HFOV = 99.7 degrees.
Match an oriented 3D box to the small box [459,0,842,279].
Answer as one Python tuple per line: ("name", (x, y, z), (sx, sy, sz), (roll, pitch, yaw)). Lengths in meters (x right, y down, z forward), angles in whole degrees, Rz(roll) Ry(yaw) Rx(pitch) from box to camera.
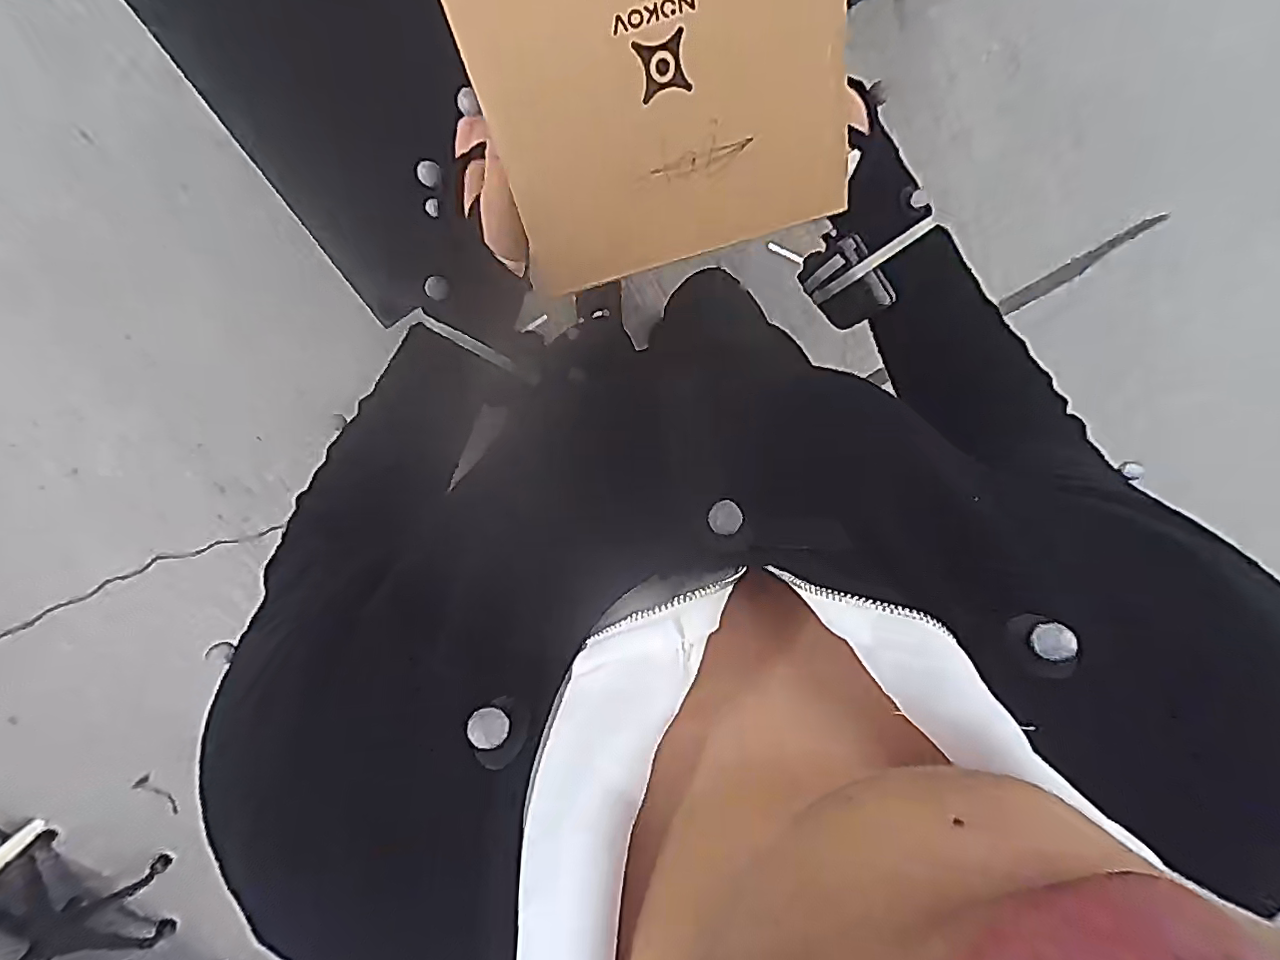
("small box", (0.000, -0.245, 0.305), (0.168, 0.176, 0.179), (-15, 129, 4))
